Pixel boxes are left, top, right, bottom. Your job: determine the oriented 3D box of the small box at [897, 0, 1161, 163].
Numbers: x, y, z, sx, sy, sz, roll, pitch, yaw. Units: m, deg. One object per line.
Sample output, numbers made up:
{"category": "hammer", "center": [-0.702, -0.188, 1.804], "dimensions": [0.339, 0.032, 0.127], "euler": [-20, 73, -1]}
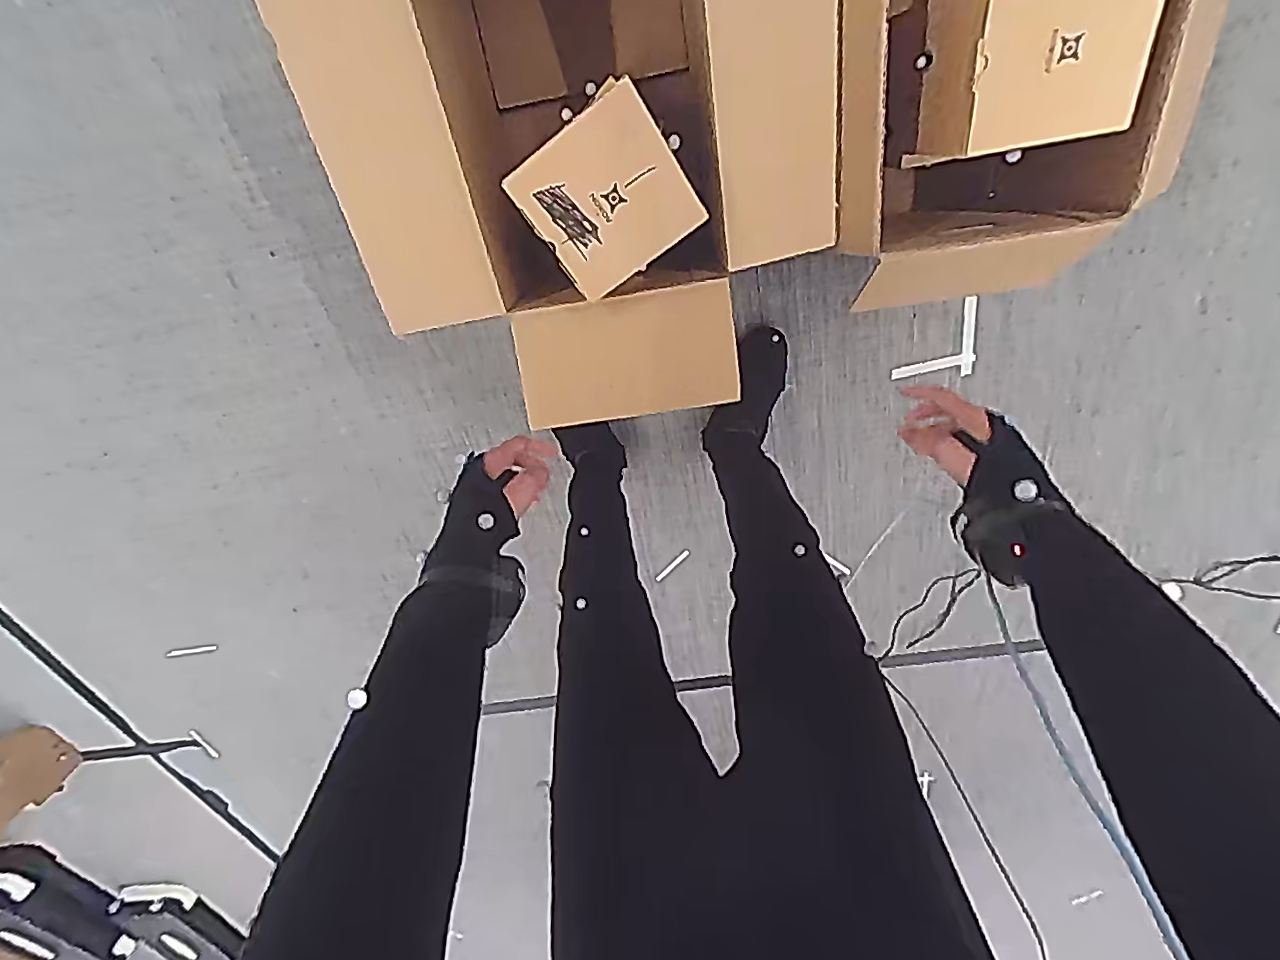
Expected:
{"category": "small box", "center": [0.420, -0.470, 0.609], "dimensions": [0.179, 0.176, 0.168], "euler": [-8, 123, 4]}
